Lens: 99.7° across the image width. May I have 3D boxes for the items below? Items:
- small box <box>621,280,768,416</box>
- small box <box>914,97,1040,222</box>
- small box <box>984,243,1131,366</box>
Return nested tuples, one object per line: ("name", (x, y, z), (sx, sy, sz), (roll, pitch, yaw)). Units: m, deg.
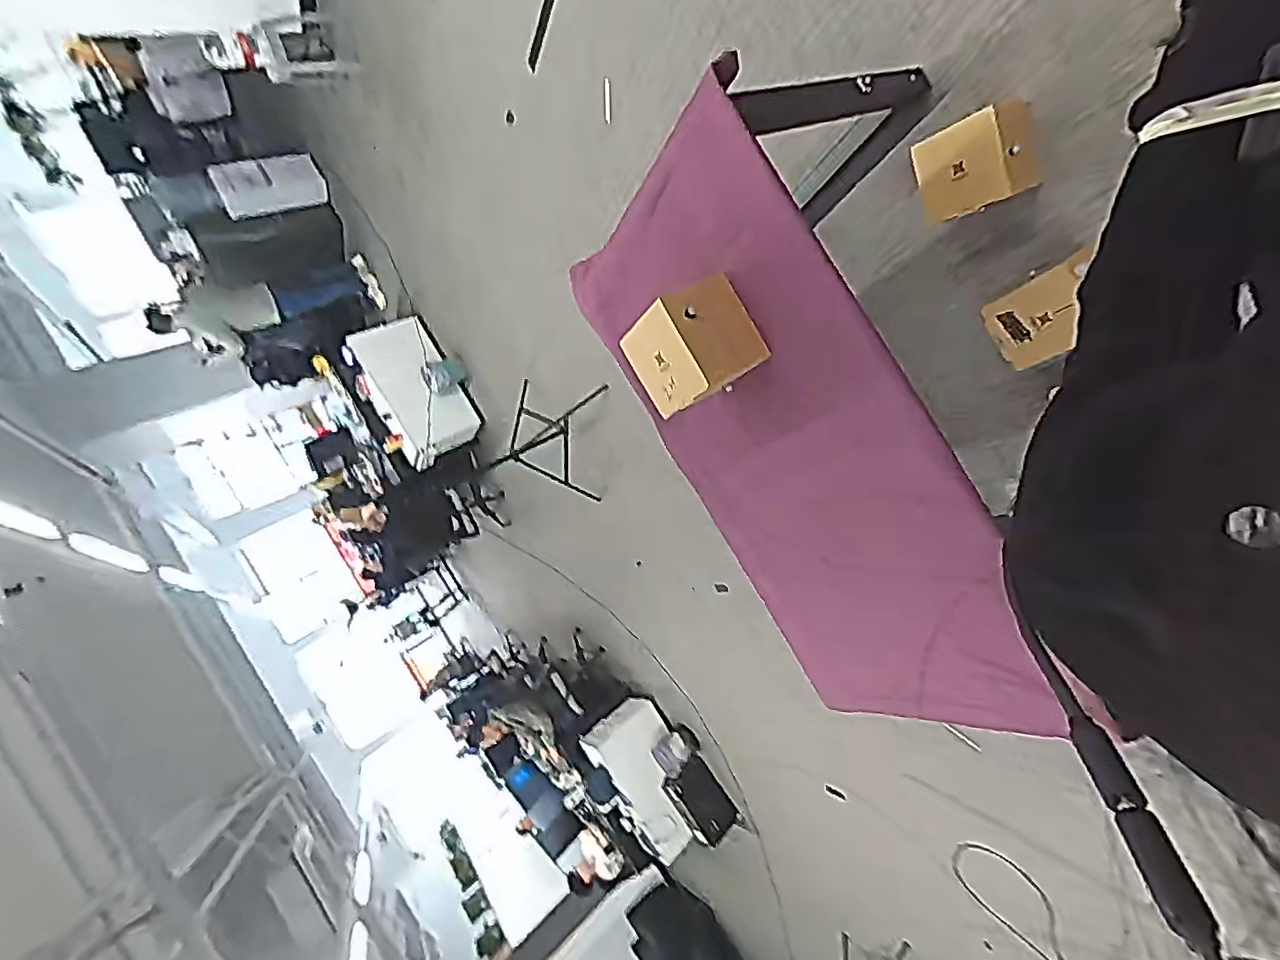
("small box", (0.102, -0.251, 1.010), (0.179, 0.176, 0.168), (59, 151, -2))
("small box", (0.724, -0.687, 1.159), (0.168, 0.176, 0.179), (-1, 118, 55))
("small box", (0.902, -0.378, 1.171), (0.168, 0.176, 0.179), (58, 149, 1))
